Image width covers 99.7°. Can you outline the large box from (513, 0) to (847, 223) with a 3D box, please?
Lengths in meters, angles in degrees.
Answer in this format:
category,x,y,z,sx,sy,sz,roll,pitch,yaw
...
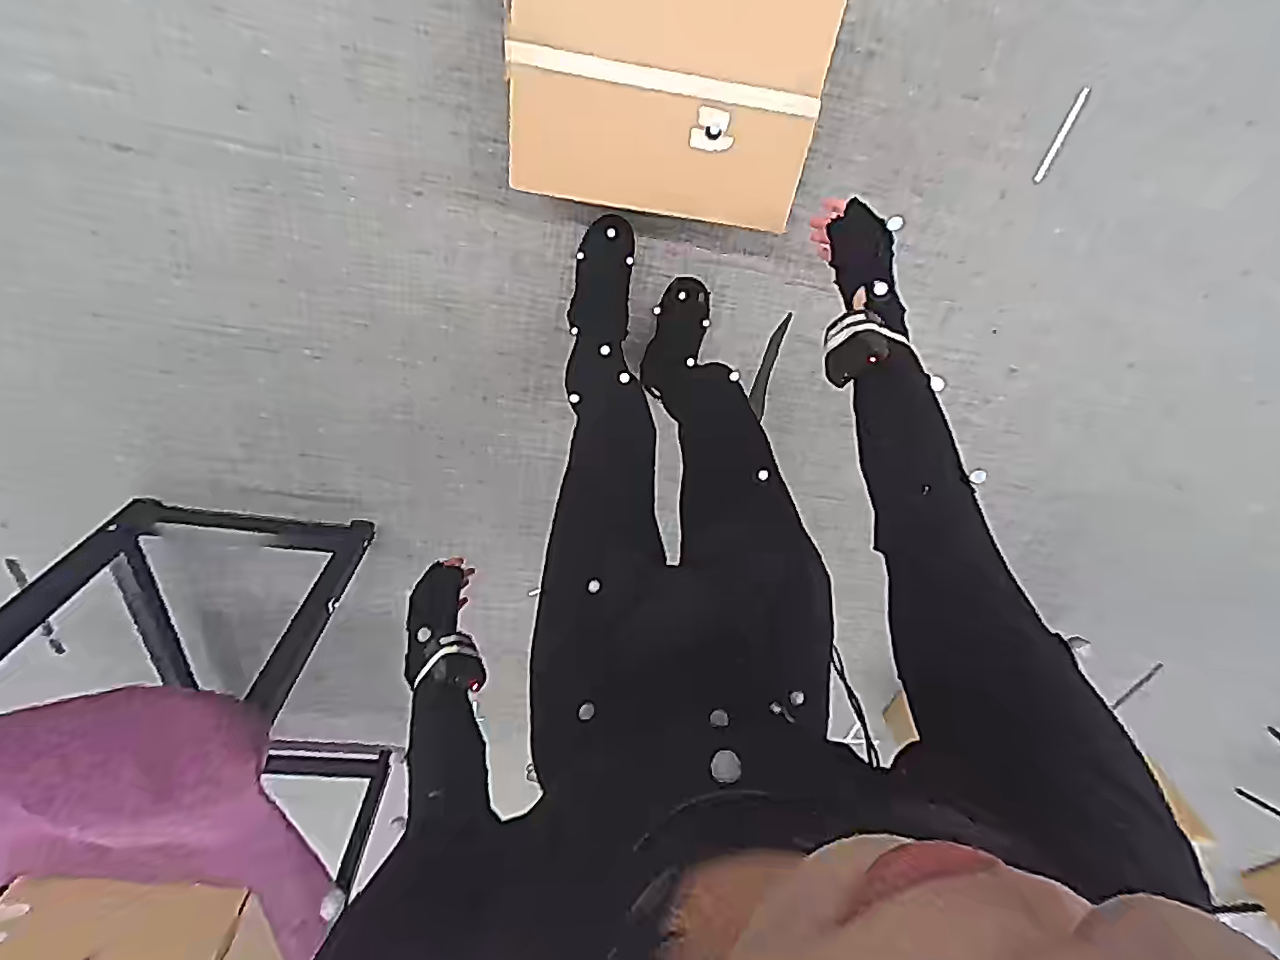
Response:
category,x,y,z,sx,sy,sz,roll,pitch,yaw
large box,0.031,-0.598,0.805,0.408,0.320,0.320,5,125,-7
